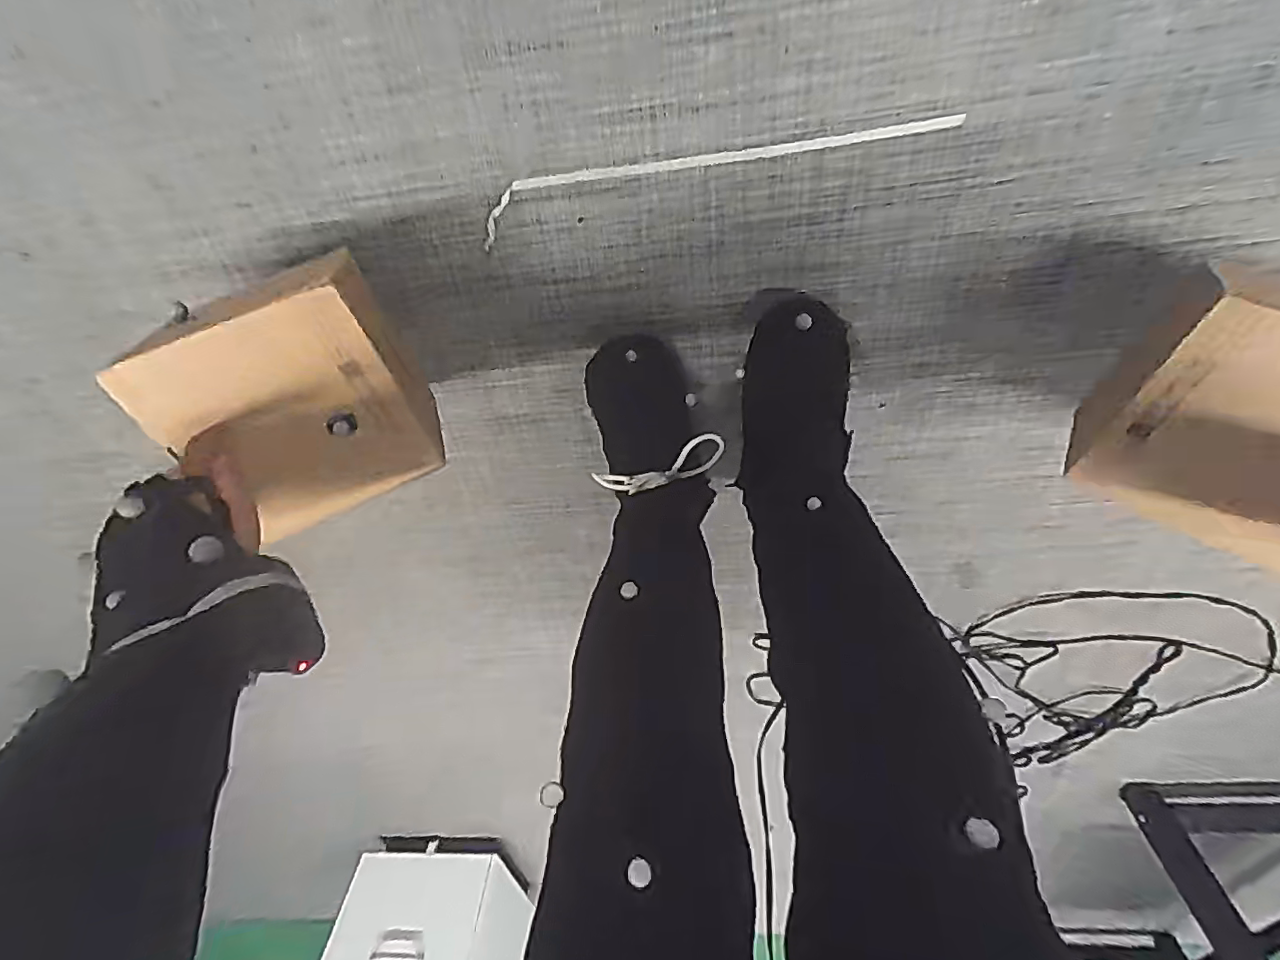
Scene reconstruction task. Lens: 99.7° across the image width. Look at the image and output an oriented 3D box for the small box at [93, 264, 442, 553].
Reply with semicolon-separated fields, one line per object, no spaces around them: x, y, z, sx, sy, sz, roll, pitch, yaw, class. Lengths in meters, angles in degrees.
-0.293;-0.074;0.477;0.176;0.179;0.168;-27;125;-10;small box
